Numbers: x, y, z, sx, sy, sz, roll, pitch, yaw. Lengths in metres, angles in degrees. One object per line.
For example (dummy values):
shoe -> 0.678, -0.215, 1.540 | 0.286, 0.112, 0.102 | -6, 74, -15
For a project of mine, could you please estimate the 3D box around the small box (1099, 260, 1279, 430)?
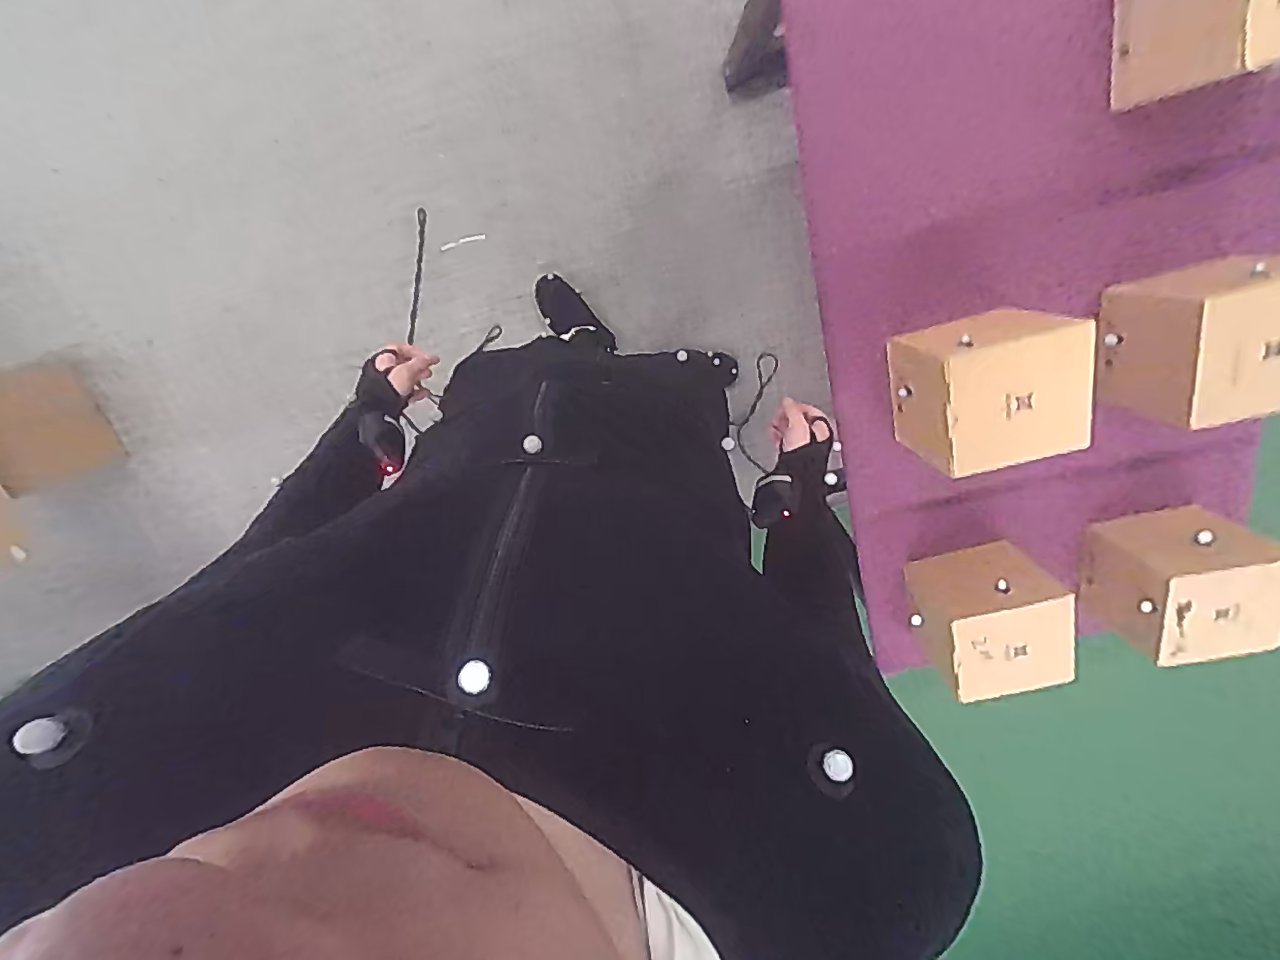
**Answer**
small box -> 0.760, -0.183, 0.707 | 0.179, 0.176, 0.168 | -12, 111, 8

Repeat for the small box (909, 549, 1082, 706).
small box -> 0.569, 0.232, 0.882 | 0.179, 0.176, 0.168 | -14, 110, 8

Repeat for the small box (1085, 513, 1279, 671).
small box -> 0.857, 0.167, 0.849 | 0.179, 0.176, 0.168 | -12, 111, 7

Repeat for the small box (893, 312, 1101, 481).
small box -> 0.475, -0.122, 0.742 | 0.179, 0.176, 0.168 | -14, 112, 7

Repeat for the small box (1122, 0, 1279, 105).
small box -> 0.657, -0.525, 0.564 | 0.179, 0.176, 0.168 | -14, 111, 7
